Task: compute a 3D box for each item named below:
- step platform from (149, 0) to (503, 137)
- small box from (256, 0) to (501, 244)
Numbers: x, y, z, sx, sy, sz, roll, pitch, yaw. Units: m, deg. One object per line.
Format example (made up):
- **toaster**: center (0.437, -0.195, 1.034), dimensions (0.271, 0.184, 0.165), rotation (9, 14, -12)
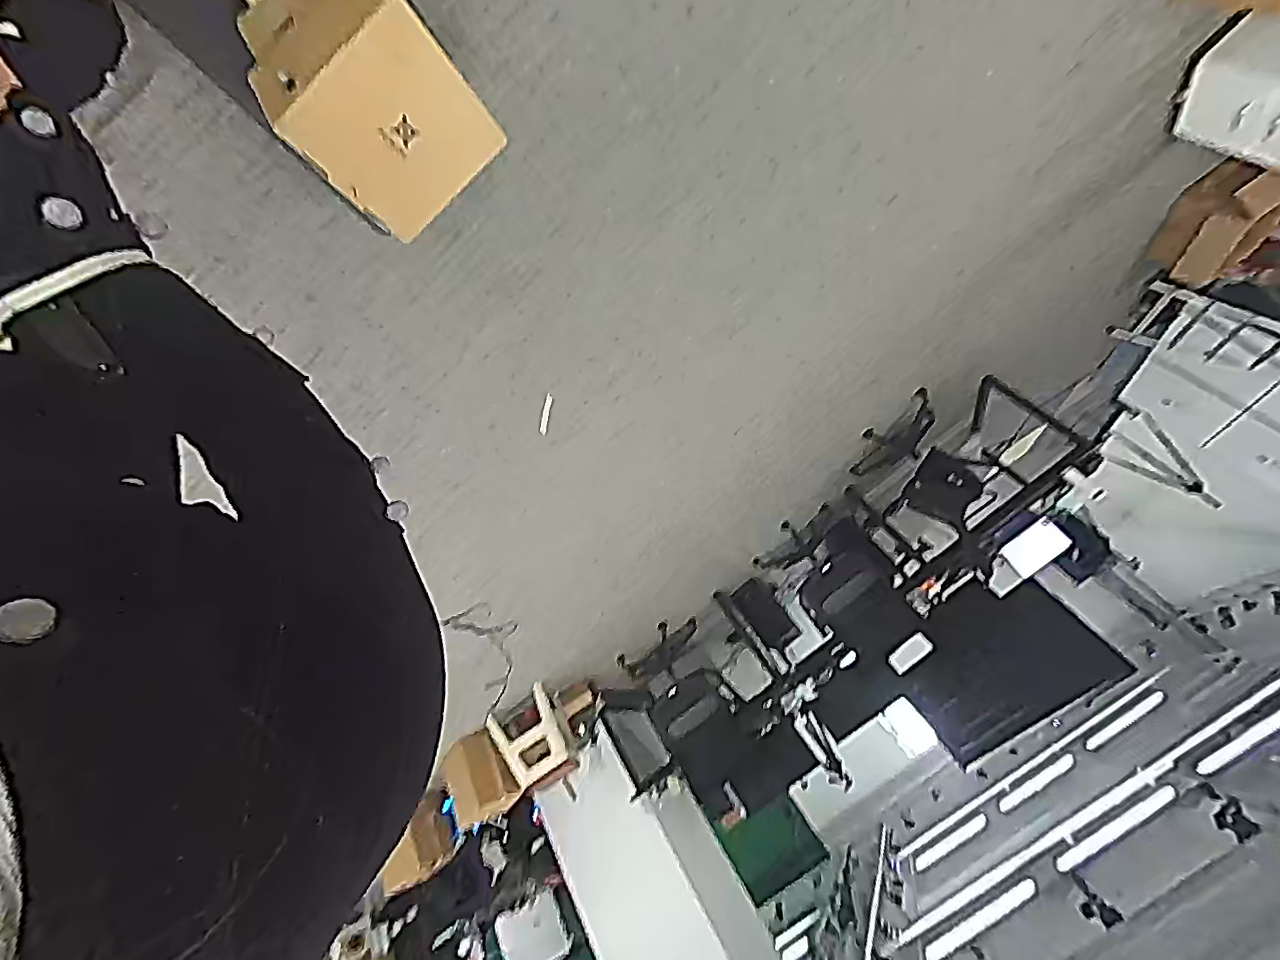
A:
- **step platform**: center (-0.496, -0.687, 0.721), dimensions (0.286, 0.204, 0.684), rotation (-41, 147, 5)
- **small box**: center (-0.299, -0.422, 0.618), dimensions (0.179, 0.176, 0.168), rotation (-41, 149, 7)
